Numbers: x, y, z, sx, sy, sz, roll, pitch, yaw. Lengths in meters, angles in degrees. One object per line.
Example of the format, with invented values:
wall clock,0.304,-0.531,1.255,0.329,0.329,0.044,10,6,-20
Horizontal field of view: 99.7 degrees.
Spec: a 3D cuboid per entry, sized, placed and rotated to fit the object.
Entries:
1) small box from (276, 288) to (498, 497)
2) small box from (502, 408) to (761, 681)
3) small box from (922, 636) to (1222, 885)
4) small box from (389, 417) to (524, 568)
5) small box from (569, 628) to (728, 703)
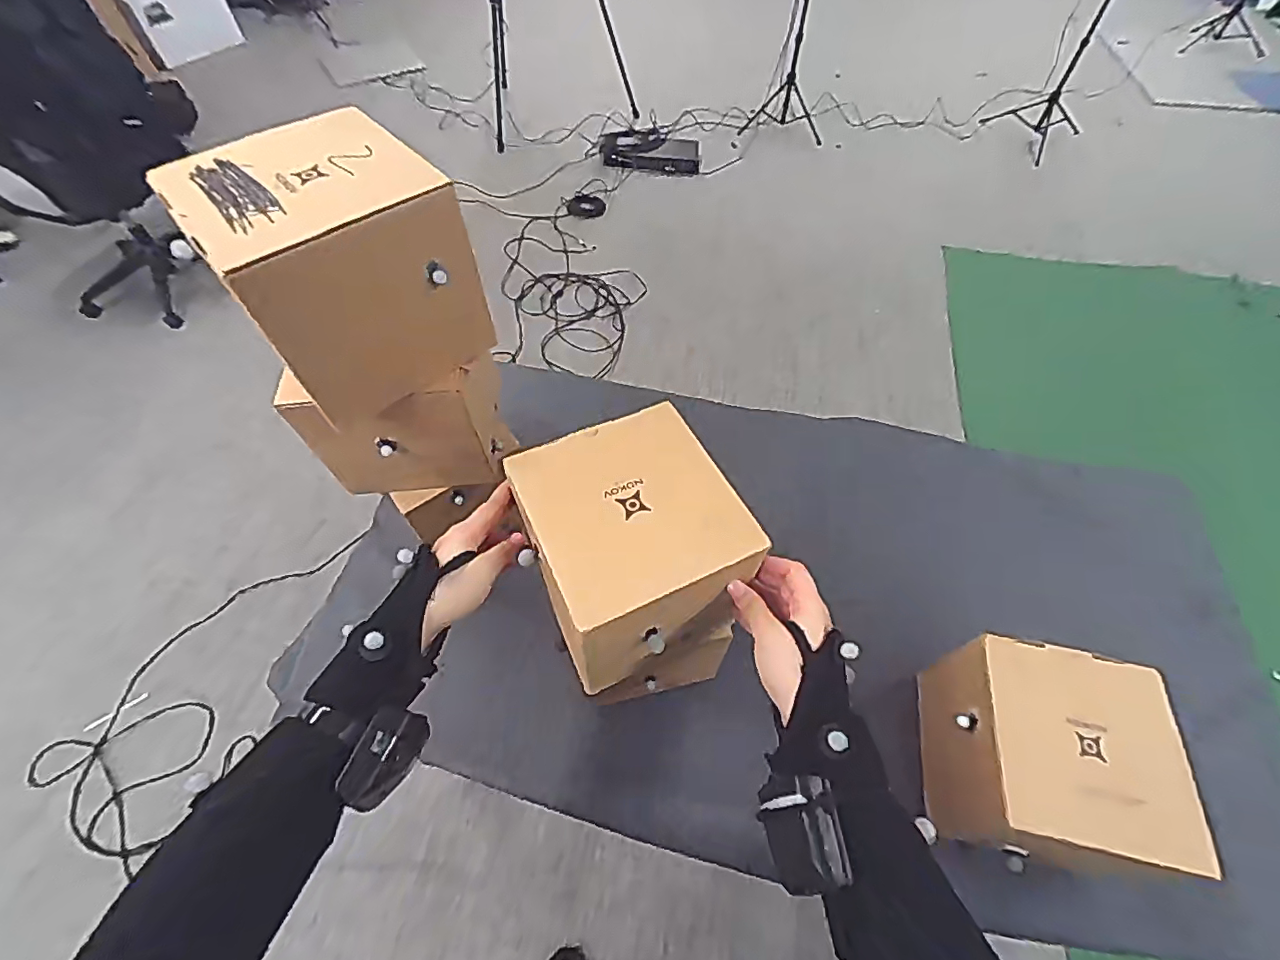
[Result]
small box,-0.268,-0.095,0.627,0.179,0.176,0.168,-6,57,-3
small box,-0.012,0.069,0.511,0.168,0.176,0.179,-21,56,-16
small box,0.409,0.288,0.558,0.168,0.176,0.179,10,56,9
small box,-0.266,-0.008,0.767,0.168,0.176,0.179,-33,62,-20
small box,-0.005,0.155,0.653,0.168,0.176,0.179,-11,56,-8
